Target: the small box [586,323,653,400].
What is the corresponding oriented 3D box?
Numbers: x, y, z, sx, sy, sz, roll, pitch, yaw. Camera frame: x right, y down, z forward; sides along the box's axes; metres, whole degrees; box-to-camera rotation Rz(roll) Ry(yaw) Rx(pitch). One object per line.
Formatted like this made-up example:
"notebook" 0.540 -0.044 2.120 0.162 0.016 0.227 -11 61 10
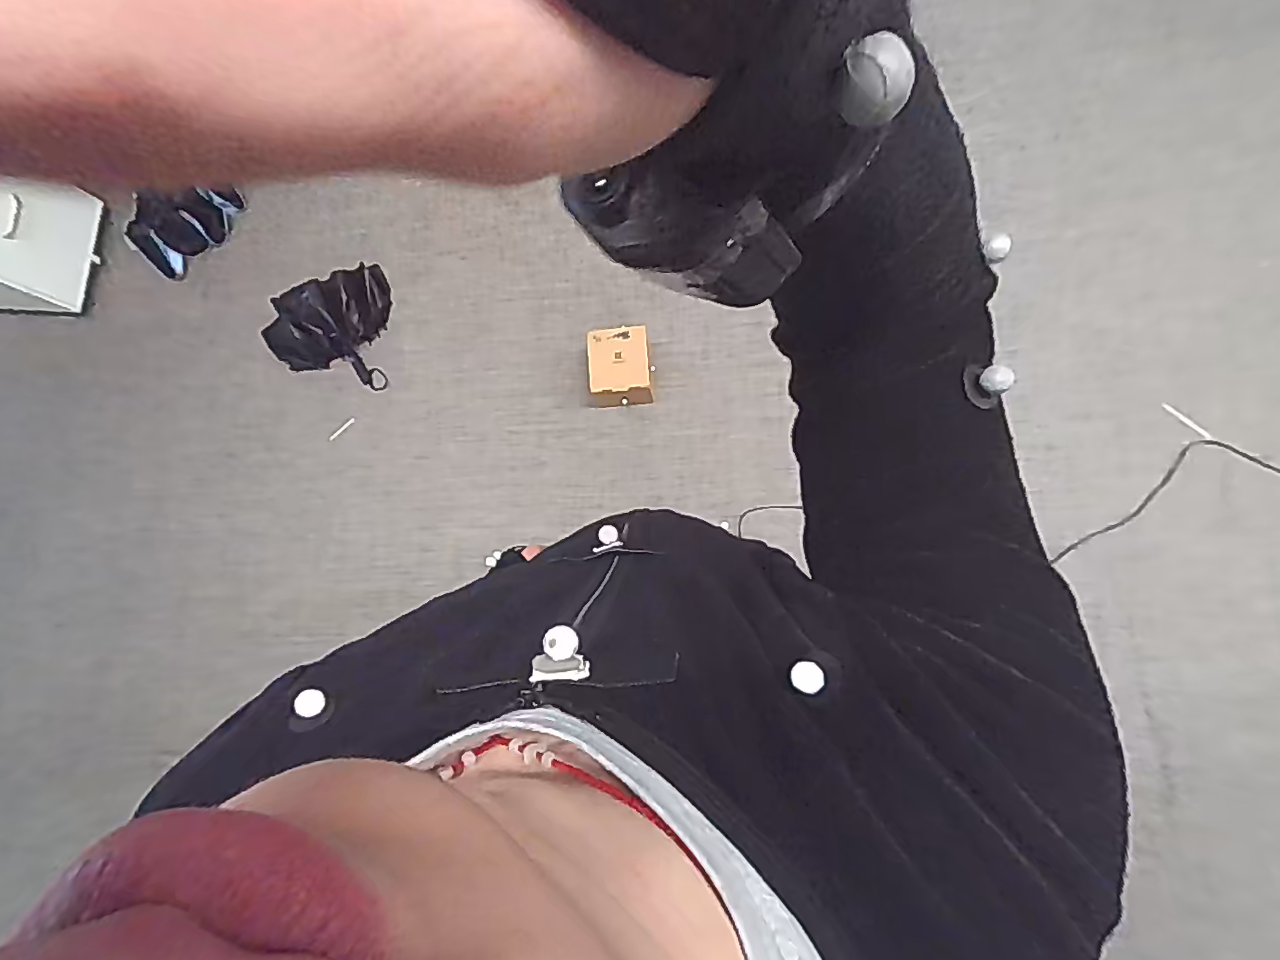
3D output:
"small box" -0.054 -0.330 1.547 0.168 0.176 0.179 -4 85 6
